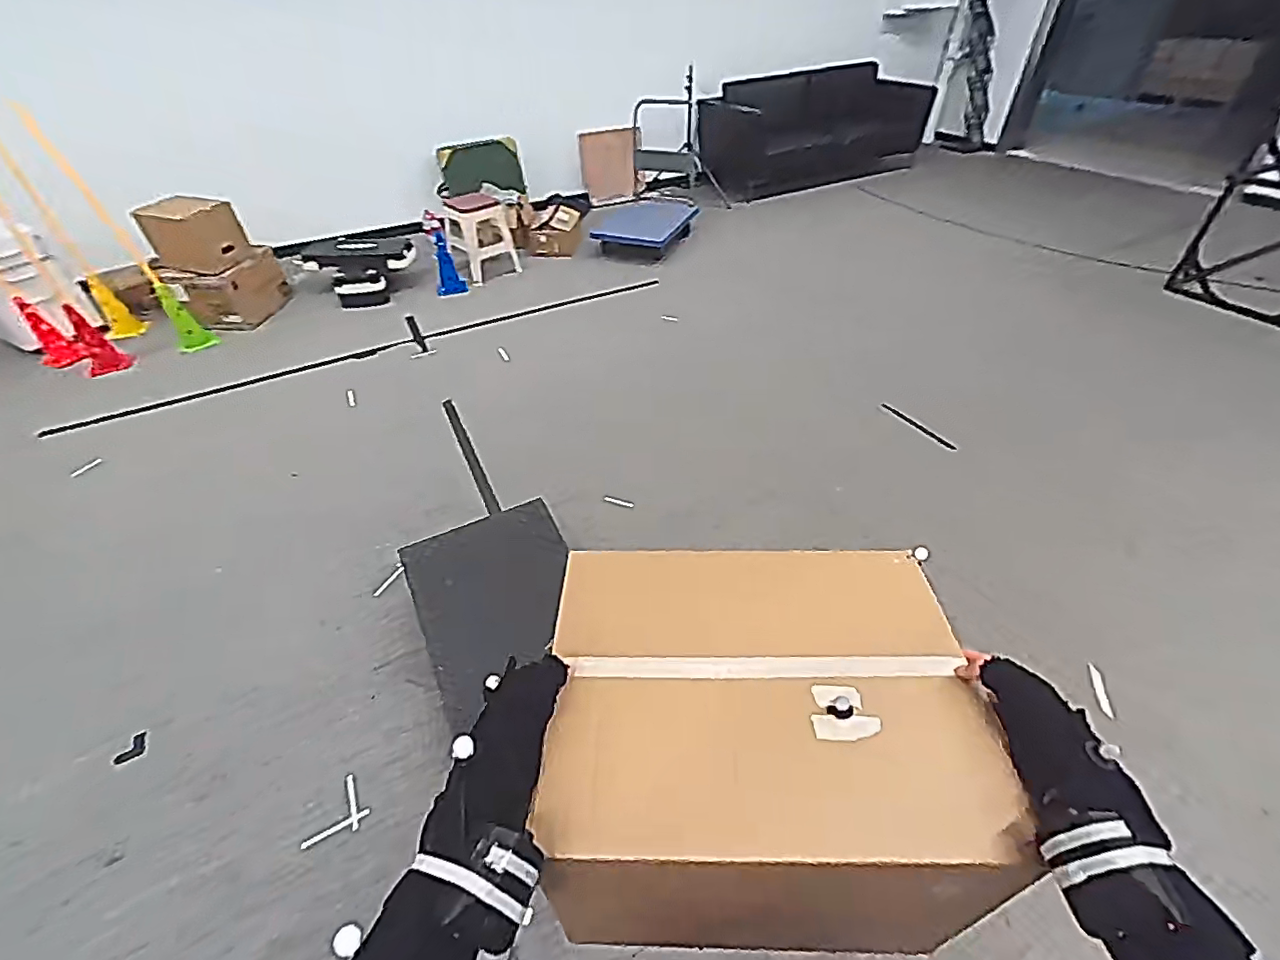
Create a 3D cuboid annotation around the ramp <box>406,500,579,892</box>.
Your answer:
[{"bbox_3d":[-0.305,0.503,1.560,0.509,0.206,0.991,-22,46,-21],"label":"ramp"}]

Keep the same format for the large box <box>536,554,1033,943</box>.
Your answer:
[{"bbox_3d":[0.116,0.306,0.633,0.408,0.320,0.320,-1,40,2],"label":"large box"}]
